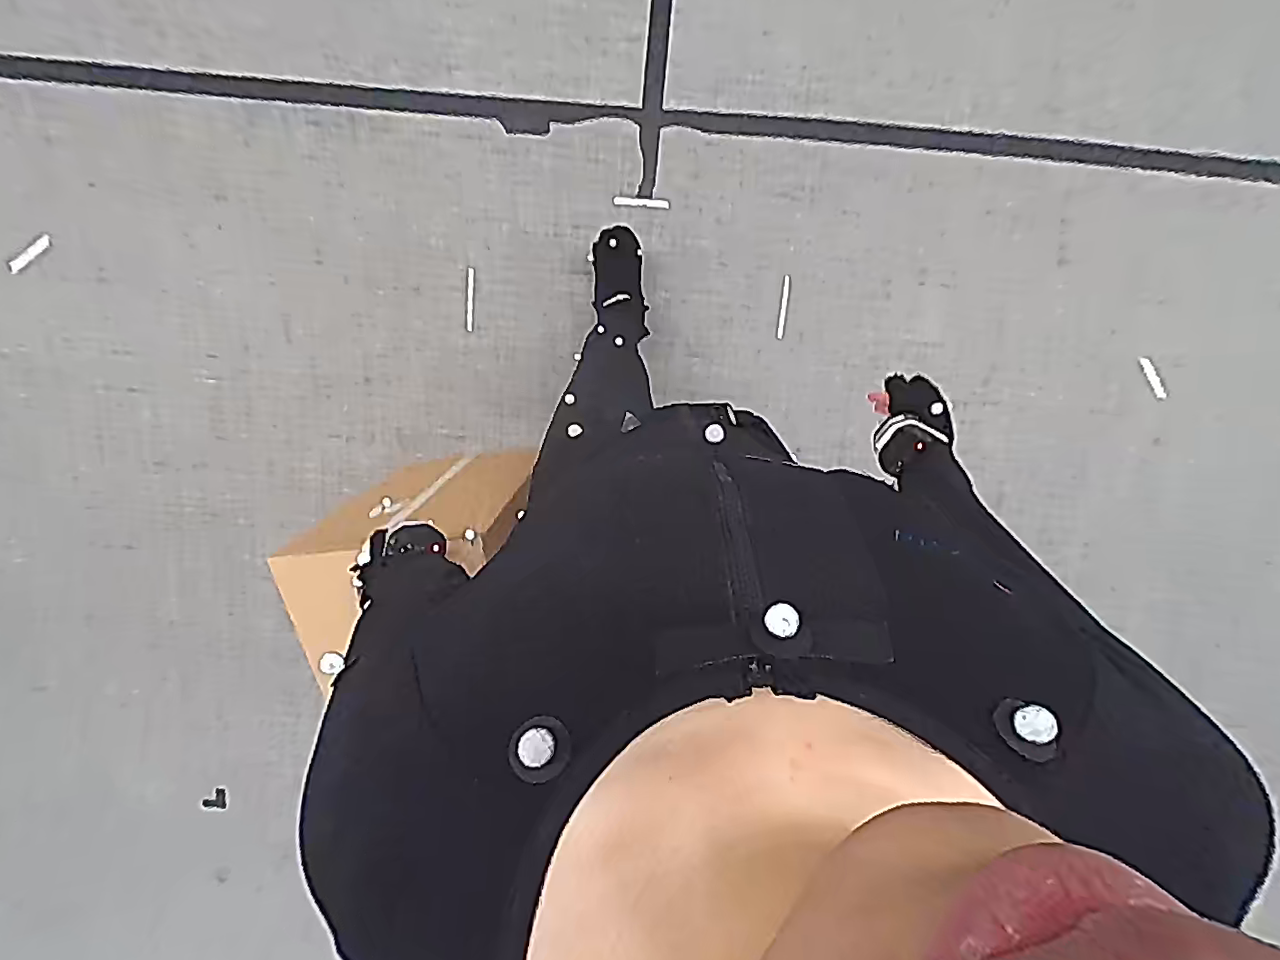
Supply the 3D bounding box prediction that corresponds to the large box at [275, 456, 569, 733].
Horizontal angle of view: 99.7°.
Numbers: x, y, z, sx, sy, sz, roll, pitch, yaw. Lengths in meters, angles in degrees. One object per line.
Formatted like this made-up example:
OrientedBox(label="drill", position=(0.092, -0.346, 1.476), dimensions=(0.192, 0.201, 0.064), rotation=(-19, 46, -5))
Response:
OrientedBox(label="large box", position=(-0.330, 0.175, 0.968), dimensions=(0.320, 0.408, 0.320), rotation=(-8, 109, 7))
